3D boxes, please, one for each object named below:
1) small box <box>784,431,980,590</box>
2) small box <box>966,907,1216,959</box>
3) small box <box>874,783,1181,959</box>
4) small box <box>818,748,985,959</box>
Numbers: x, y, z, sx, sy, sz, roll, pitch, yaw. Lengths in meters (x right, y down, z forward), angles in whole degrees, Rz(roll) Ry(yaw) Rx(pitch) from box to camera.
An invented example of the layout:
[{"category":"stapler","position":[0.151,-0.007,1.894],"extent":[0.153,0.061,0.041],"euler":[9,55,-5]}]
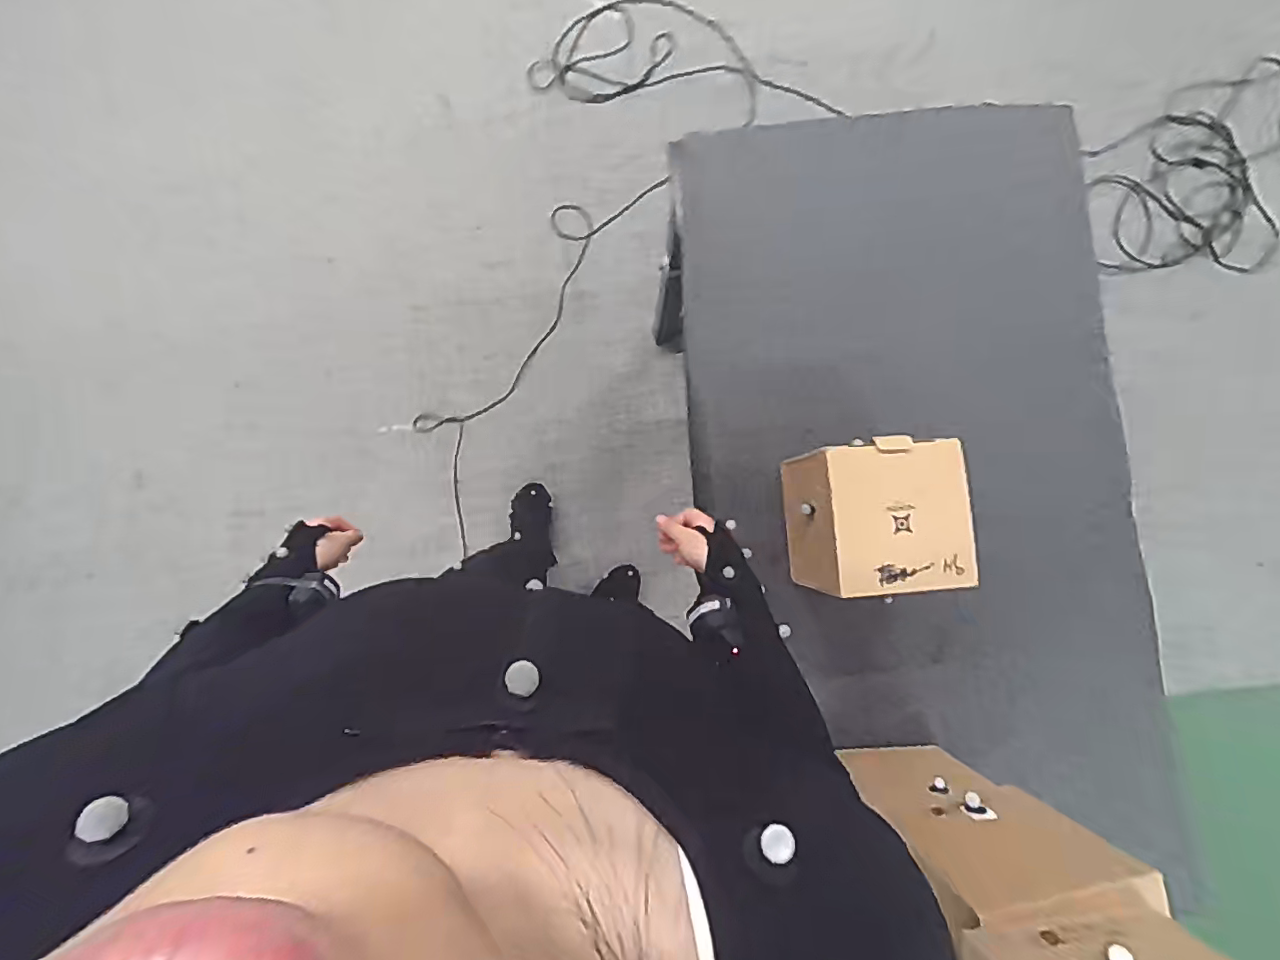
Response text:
[{"category":"small box","position":[0.294,0.042,0.694],"extent":[0.168,0.176,0.179],"euler":[-4,84,-3]},{"category":"small box","position":[0.337,0.417,0.332],"extent":[0.168,0.176,0.179],"euler":[-3,85,-6]},{"category":"small box","position":[0.345,0.417,0.498],"extent":[0.168,0.176,0.179],"euler":[-8,84,-6]},{"category":"small box","position":[0.335,0.443,0.658],"extent":[0.179,0.176,0.168],"euler":[0,84,-3]}]
